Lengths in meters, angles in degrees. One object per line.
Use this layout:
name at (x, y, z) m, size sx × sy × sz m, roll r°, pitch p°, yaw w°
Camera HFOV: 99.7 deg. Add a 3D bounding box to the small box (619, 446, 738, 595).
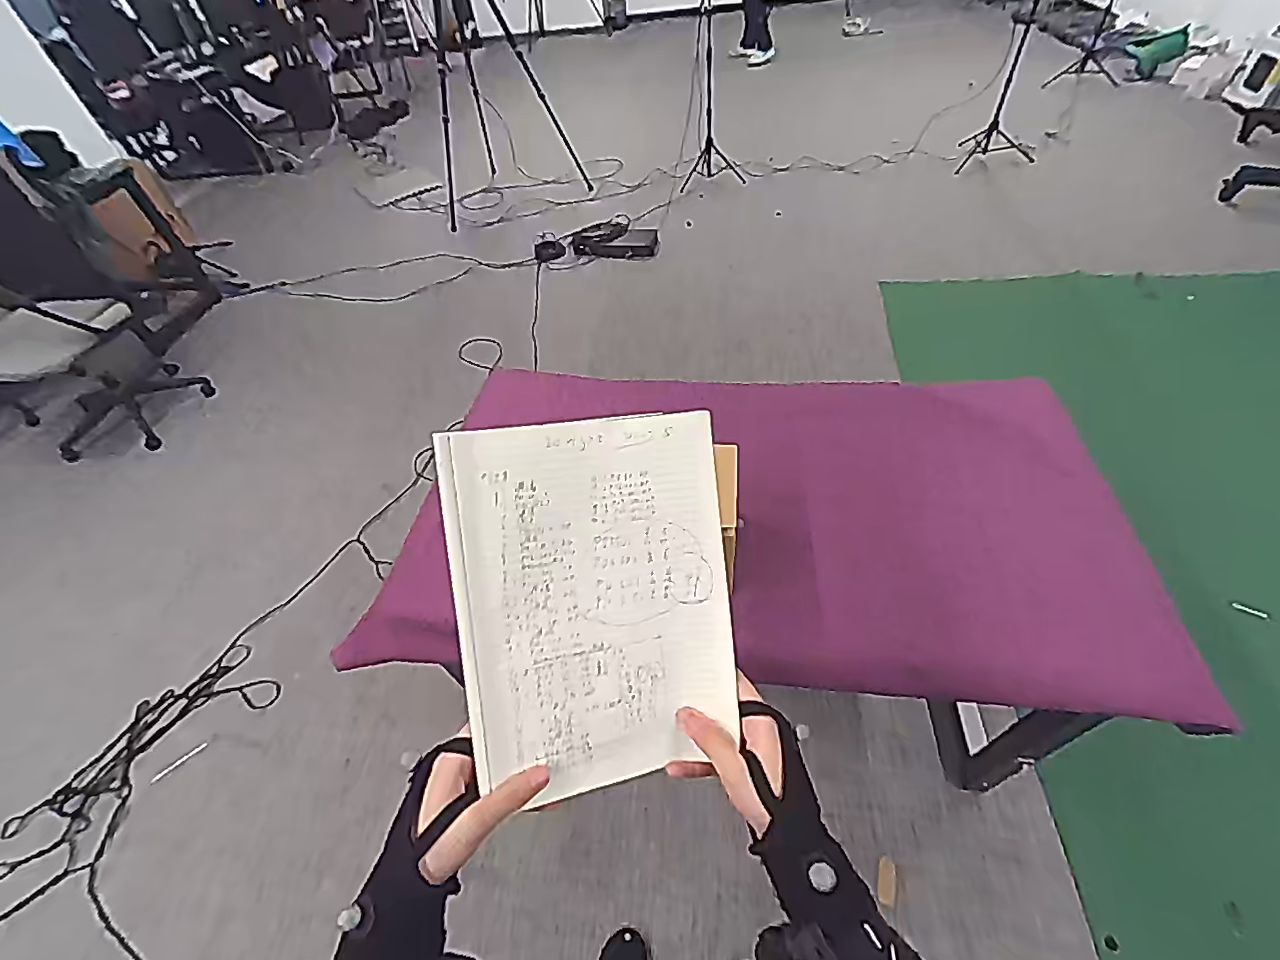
small box at (0.069, 0.067, 0.865) m, size 0.168 × 0.176 × 0.179 m, roll 3°, pitch 50°, yaw 9°
